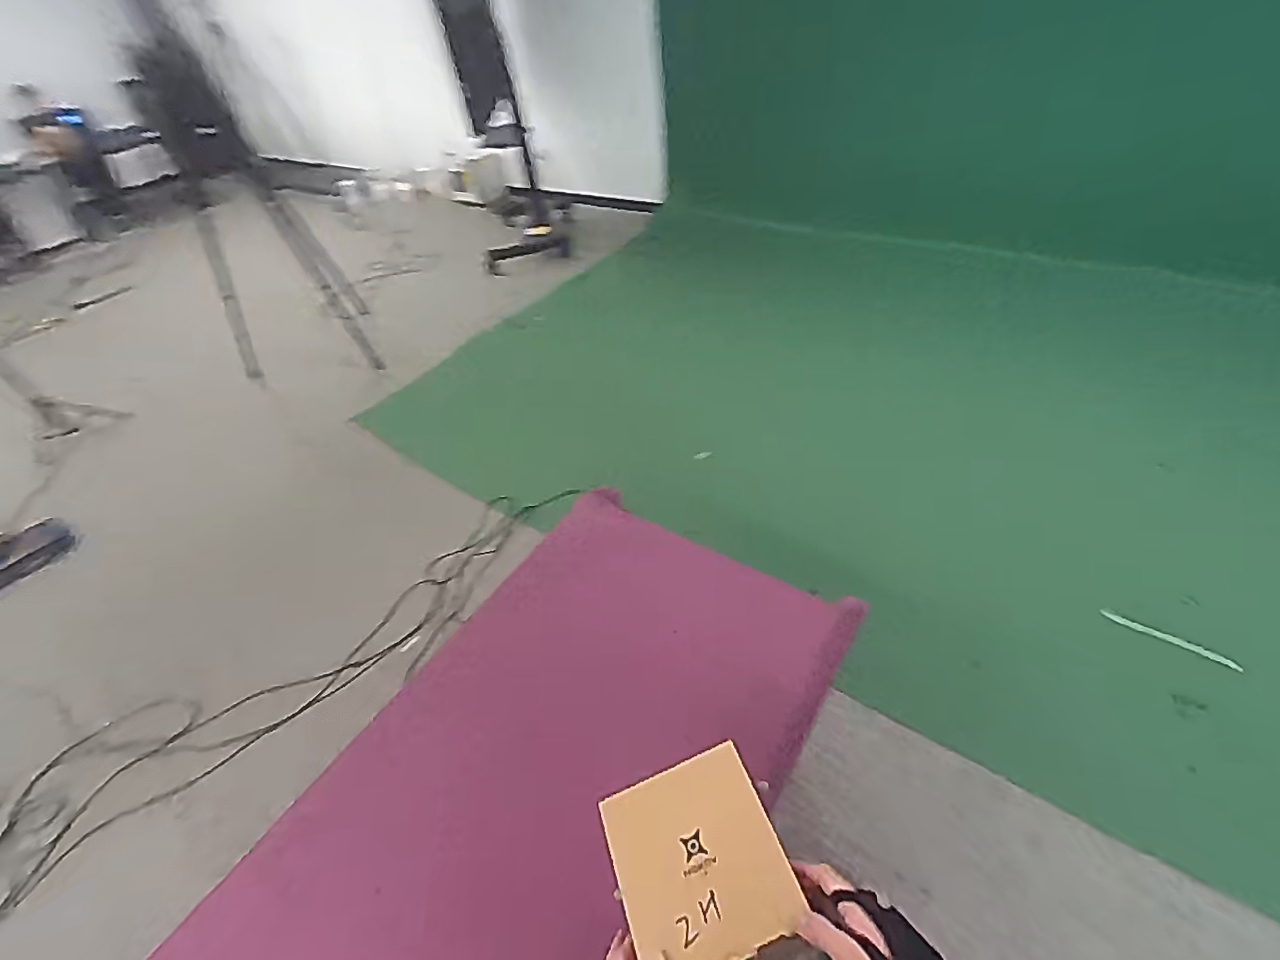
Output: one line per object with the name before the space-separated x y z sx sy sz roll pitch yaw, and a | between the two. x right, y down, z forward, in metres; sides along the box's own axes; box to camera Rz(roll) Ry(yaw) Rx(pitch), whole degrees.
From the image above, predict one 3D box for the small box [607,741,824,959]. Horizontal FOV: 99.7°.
small box | 0.080 0.428 0.586 0.168 0.176 0.179 -22 41 -4
